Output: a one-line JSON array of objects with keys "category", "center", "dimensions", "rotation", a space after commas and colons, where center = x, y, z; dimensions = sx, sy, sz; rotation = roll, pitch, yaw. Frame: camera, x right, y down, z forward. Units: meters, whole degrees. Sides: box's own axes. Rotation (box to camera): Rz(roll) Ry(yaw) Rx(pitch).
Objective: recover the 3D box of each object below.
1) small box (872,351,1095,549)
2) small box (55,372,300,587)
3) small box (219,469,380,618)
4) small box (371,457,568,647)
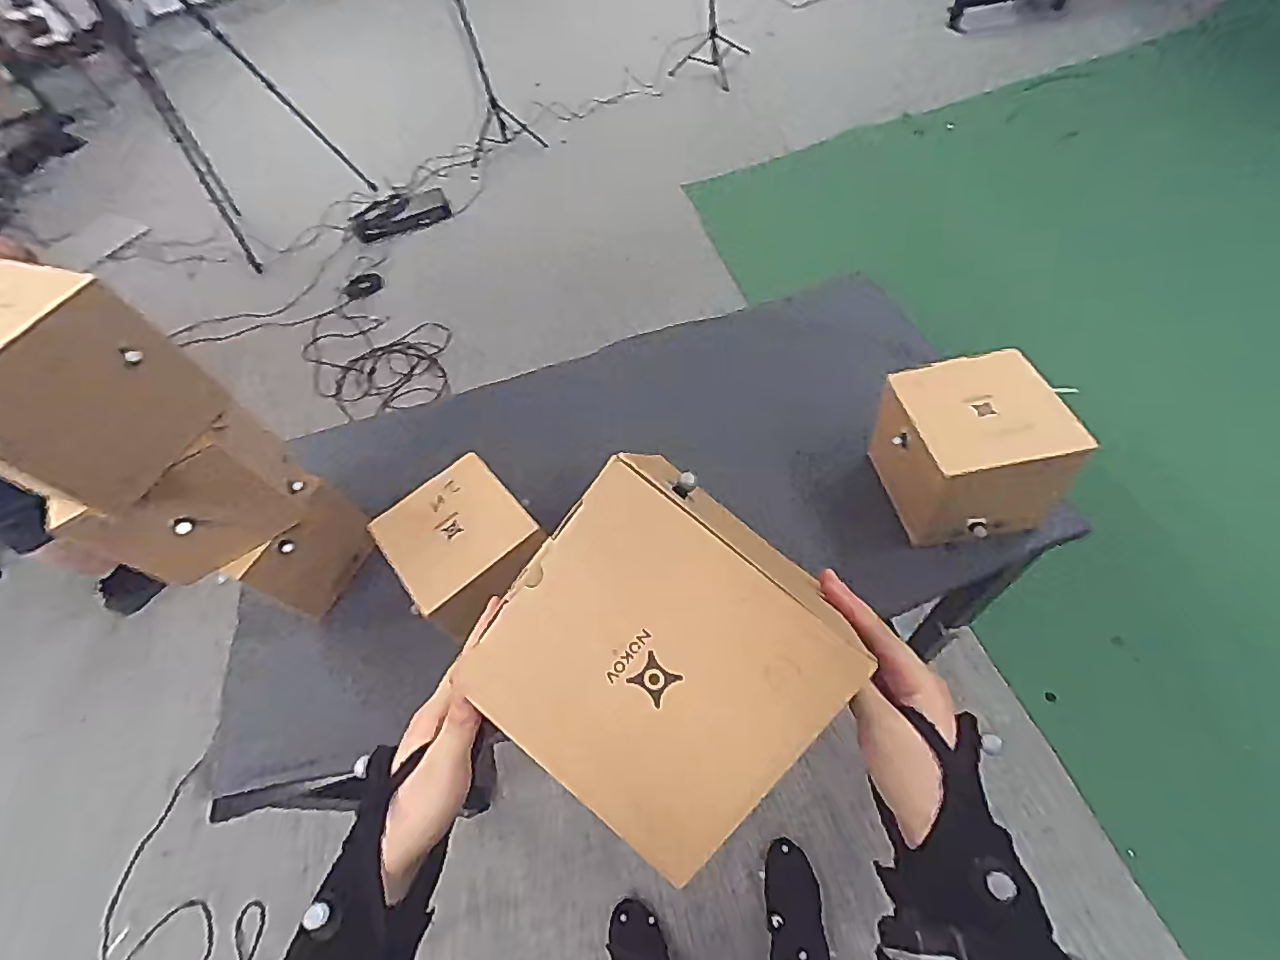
[{"category": "small box", "center": [0.422, -0.036, 0.707], "dimensions": [0.168, 0.176, 0.179], "rotation": [-12, 52, 5]}, {"category": "small box", "center": [-0.569, 0.004, 0.686], "dimensions": [0.179, 0.176, 0.168], "rotation": [-34, 58, -11]}, {"category": "small box", "center": [-0.543, 0.089, 0.825], "dimensions": [0.179, 0.176, 0.168], "rotation": [17, 62, 20]}, {"category": "small box", "center": [-0.224, 0.108, 0.748], "dimensions": [0.168, 0.176, 0.179], "rotation": [-39, 58, -15]}]
